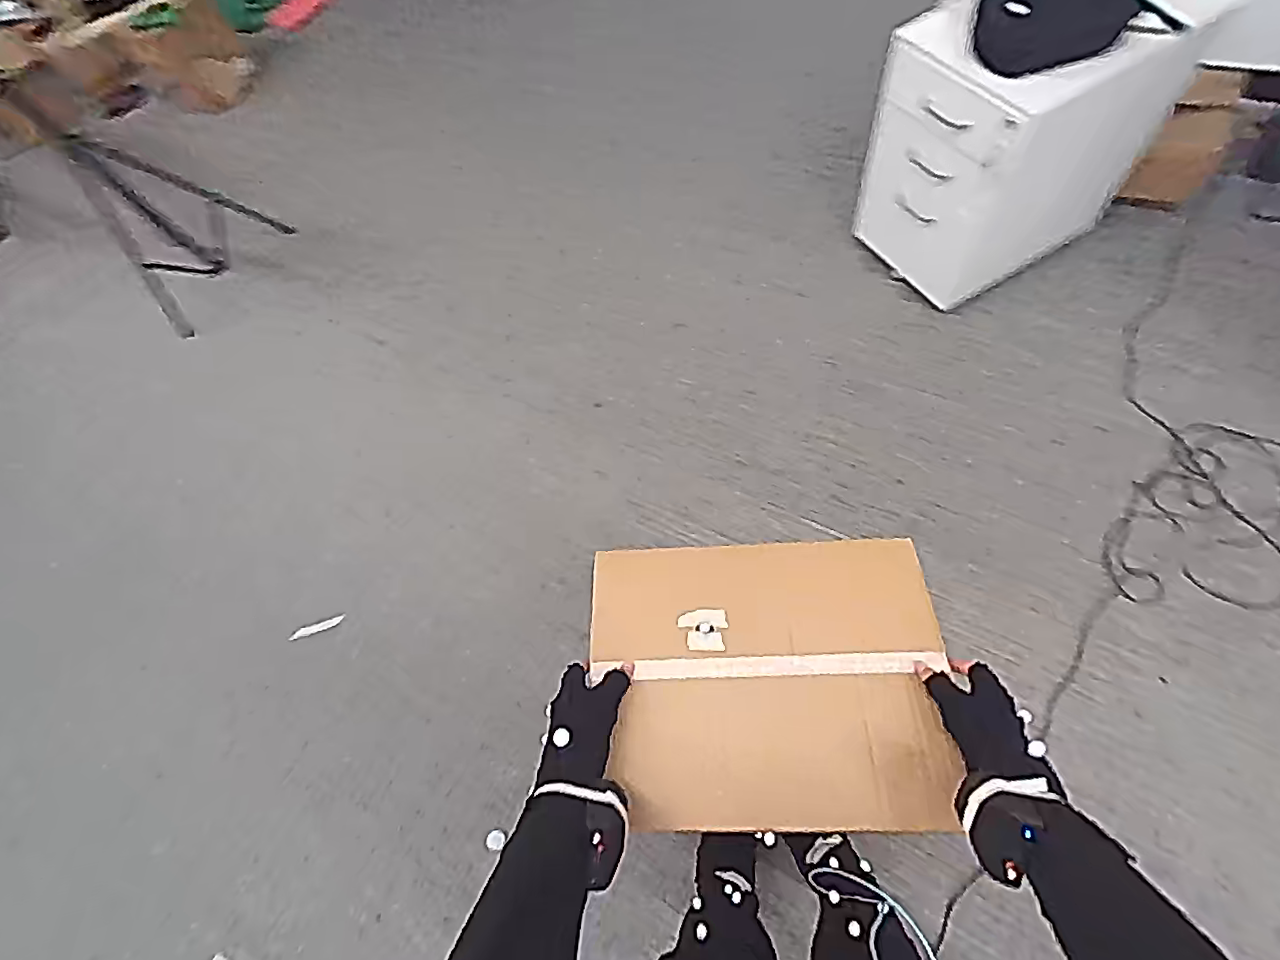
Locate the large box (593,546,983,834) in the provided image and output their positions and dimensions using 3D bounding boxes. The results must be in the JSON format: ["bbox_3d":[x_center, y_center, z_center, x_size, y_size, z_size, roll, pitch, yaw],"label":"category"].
[{"bbox_3d":[0.166,0.303,0.758,0.408,0.320,0.320,-3,57,6],"label":"large box"}]
